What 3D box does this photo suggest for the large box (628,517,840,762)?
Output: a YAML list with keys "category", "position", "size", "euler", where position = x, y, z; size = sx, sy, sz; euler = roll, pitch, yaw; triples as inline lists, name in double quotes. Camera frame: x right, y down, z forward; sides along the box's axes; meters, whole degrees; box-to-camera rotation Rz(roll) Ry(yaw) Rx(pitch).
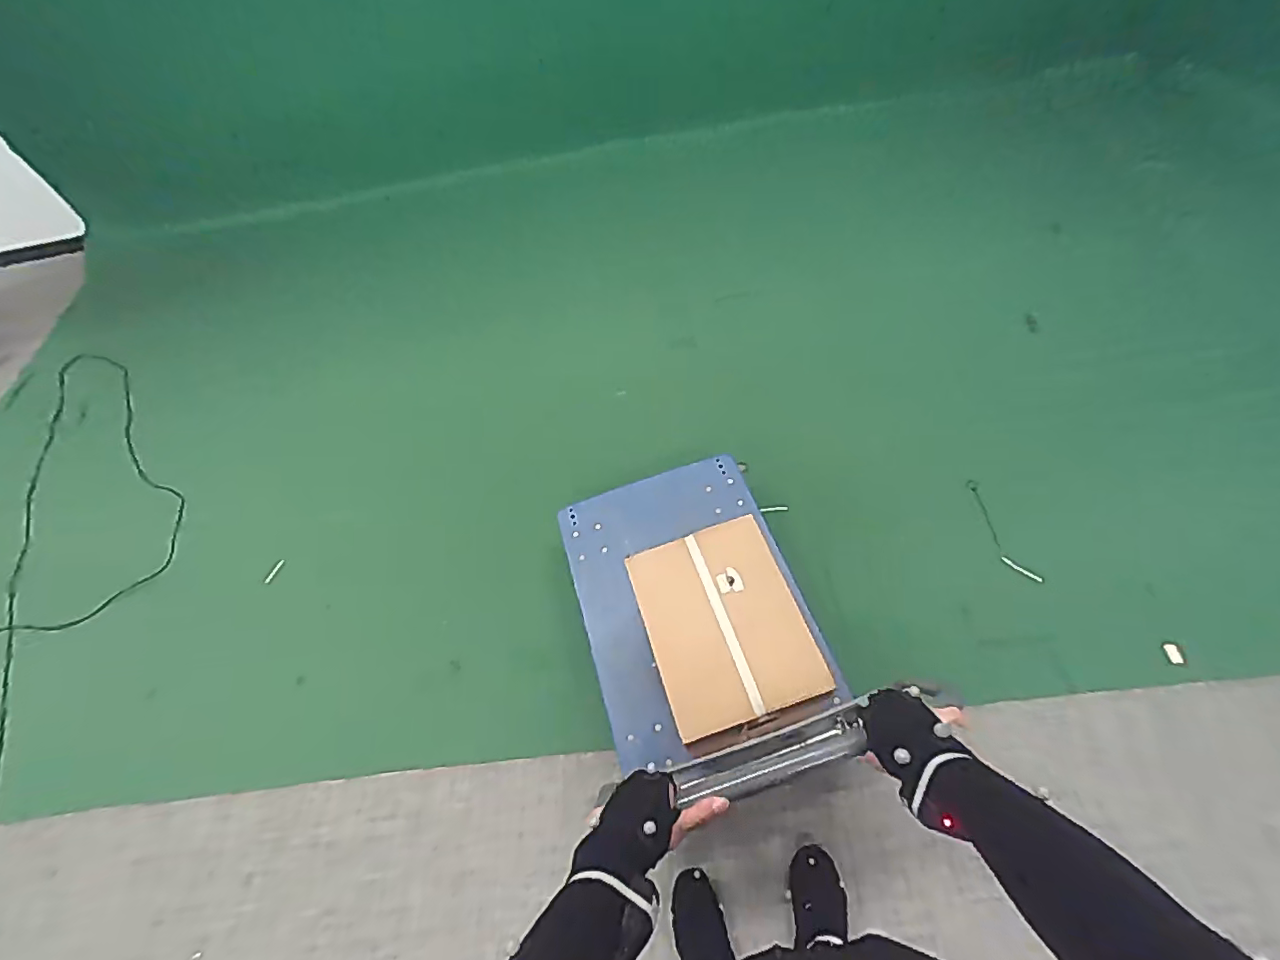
- category: "large box"
  position: [0.199, 0.366, 1.232]
  size: [0.320, 0.320, 0.408]
  euler: [-19, 56, -3]
